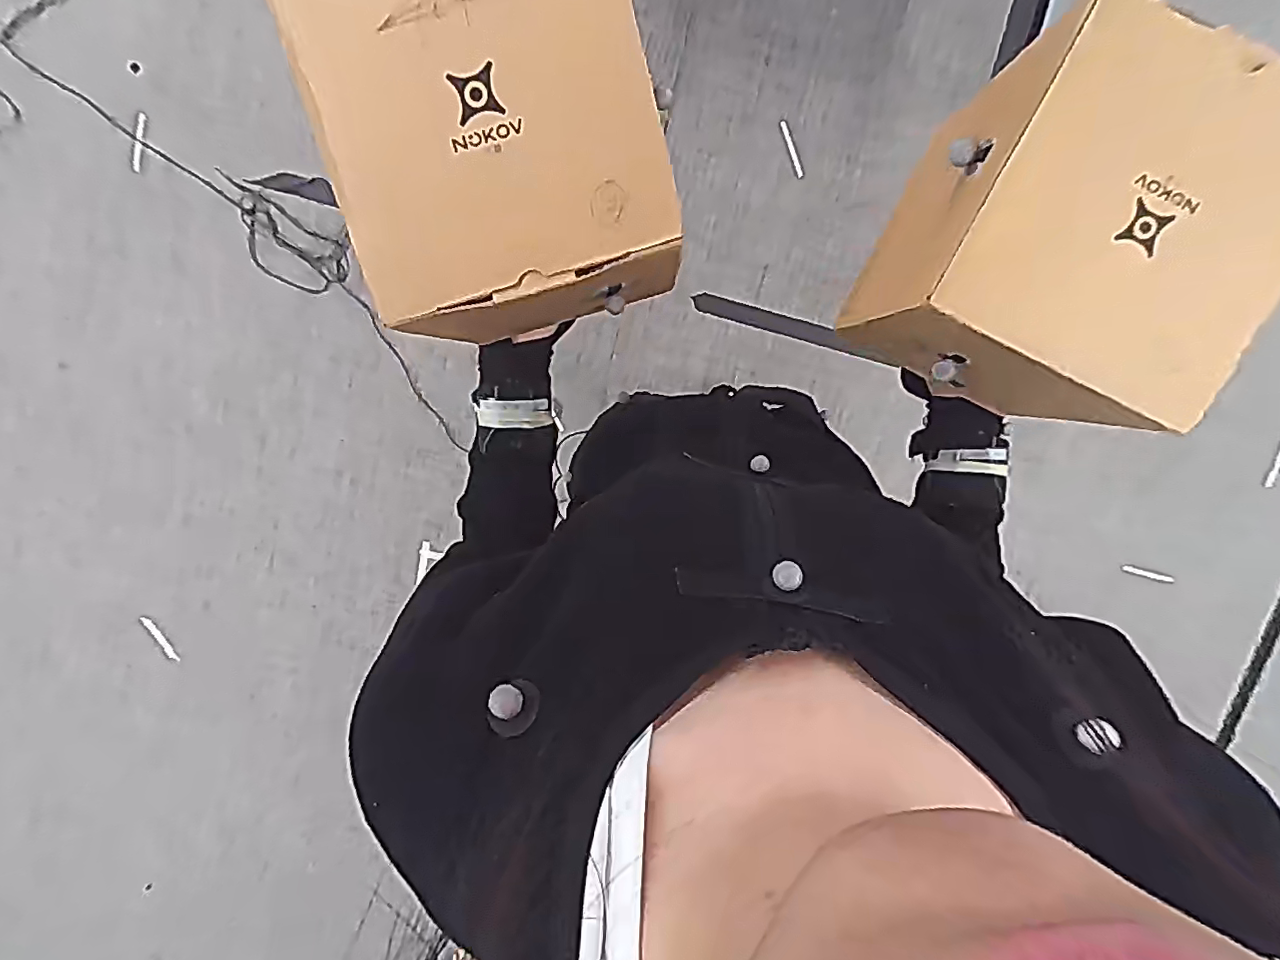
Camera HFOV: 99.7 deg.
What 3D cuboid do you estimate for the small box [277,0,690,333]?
[{"bbox_3d":[-0.071,-0.198,0.338,0.168,0.176,0.179,-16,100,3],"label":"small box"}]

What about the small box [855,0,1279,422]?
[{"bbox_3d":[0.270,-0.154,0.359,0.168,0.176,0.179,25,99,-2],"label":"small box"}]
